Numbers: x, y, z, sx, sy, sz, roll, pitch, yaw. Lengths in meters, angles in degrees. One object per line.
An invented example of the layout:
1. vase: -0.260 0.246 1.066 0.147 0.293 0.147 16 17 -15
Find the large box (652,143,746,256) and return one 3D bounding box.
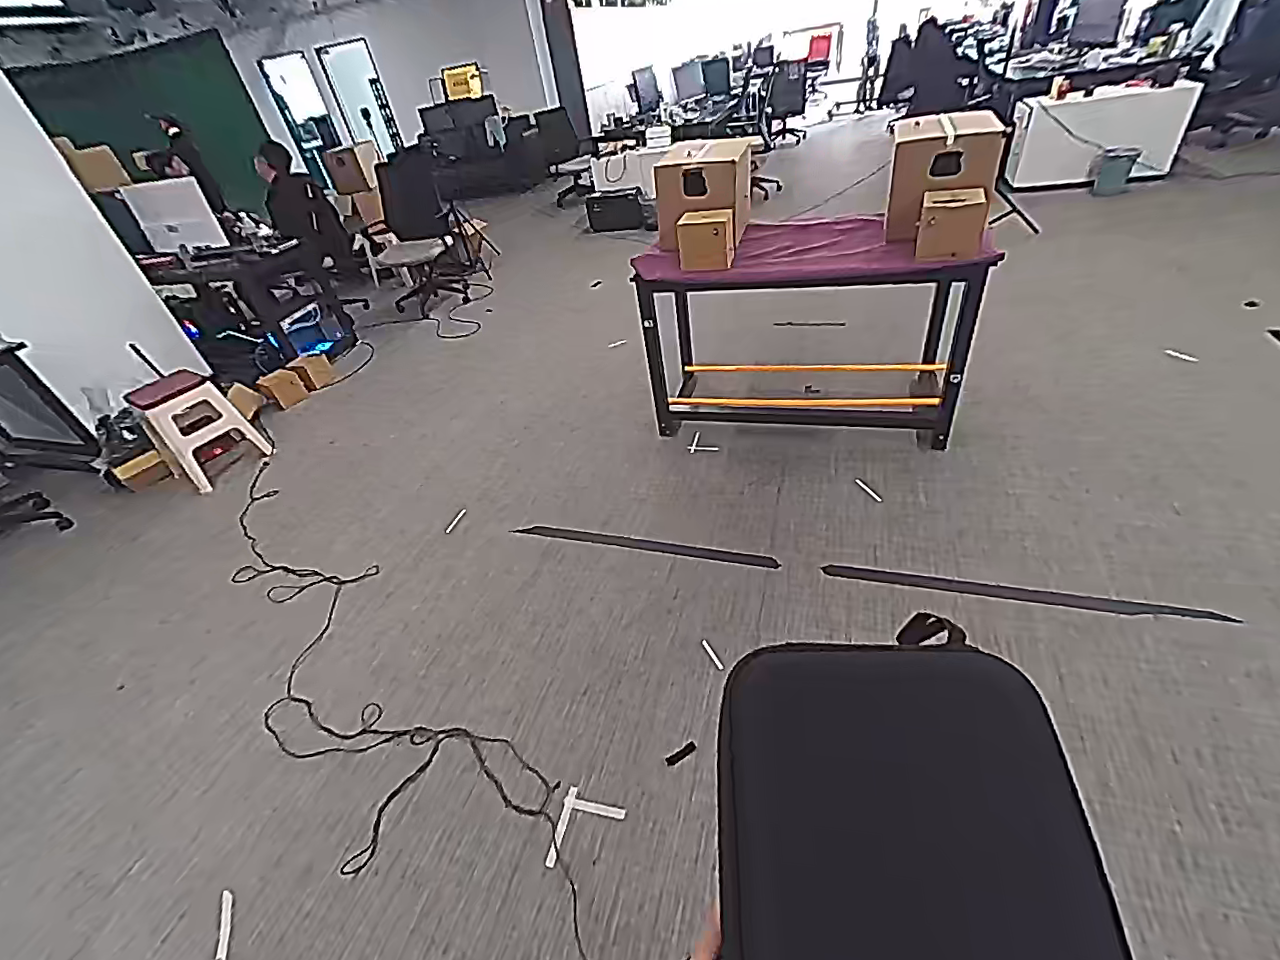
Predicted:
1. large box: 0.255 -1.145 2.201 0.320 0.320 0.408 5 43 17

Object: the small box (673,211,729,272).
1. small box: 0.229 -0.873 1.985 0.179 0.176 0.168 3 39 16
